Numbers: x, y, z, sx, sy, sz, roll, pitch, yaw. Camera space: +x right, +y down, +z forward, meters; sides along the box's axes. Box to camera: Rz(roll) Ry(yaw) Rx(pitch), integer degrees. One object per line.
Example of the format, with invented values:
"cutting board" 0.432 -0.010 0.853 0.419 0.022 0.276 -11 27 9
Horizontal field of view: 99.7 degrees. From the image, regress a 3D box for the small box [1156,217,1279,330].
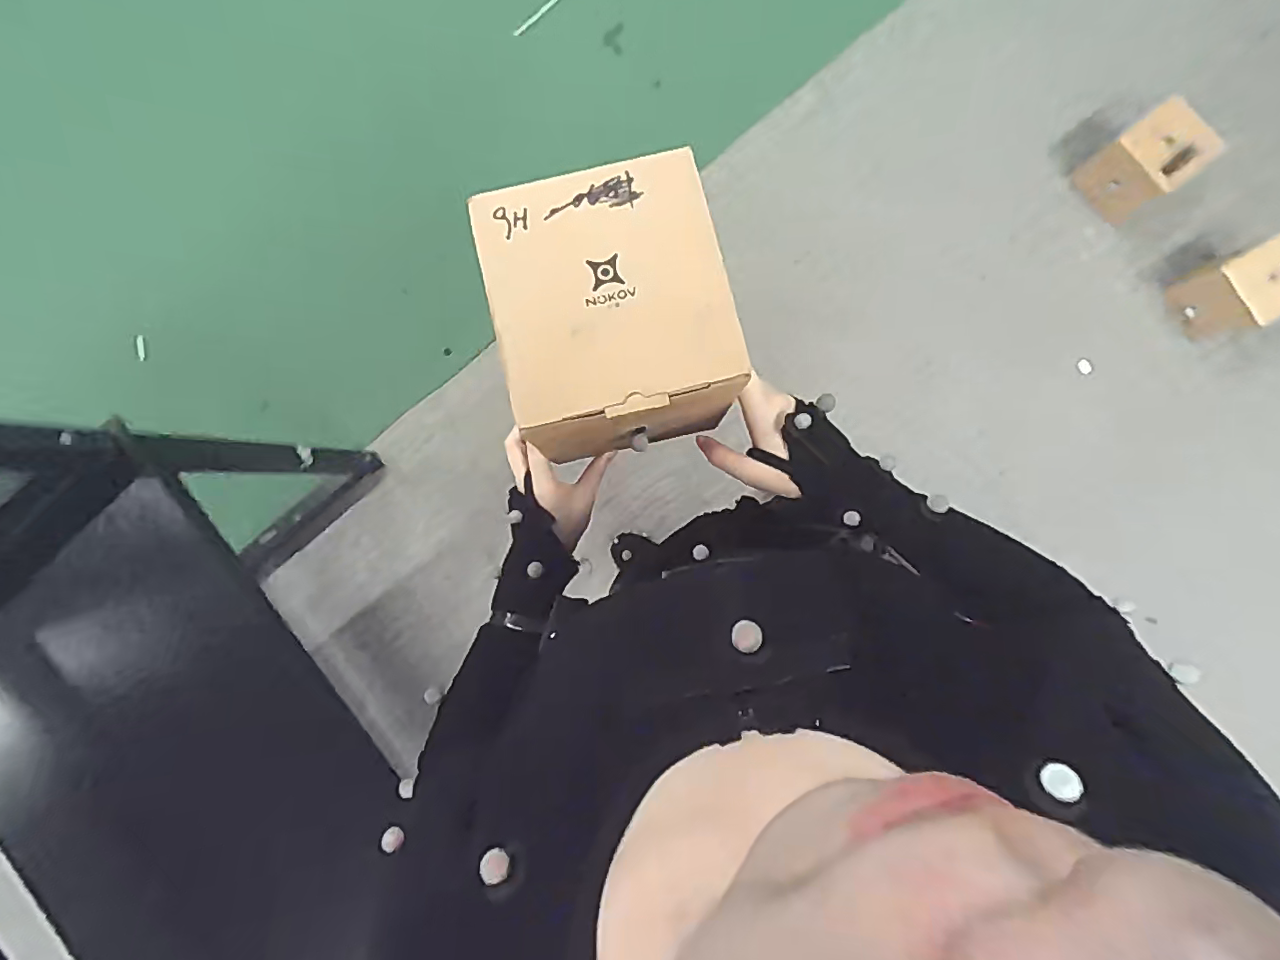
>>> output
"small box" 1.438 -0.493 1.313 0.179 0.176 0.168 -32 88 5
